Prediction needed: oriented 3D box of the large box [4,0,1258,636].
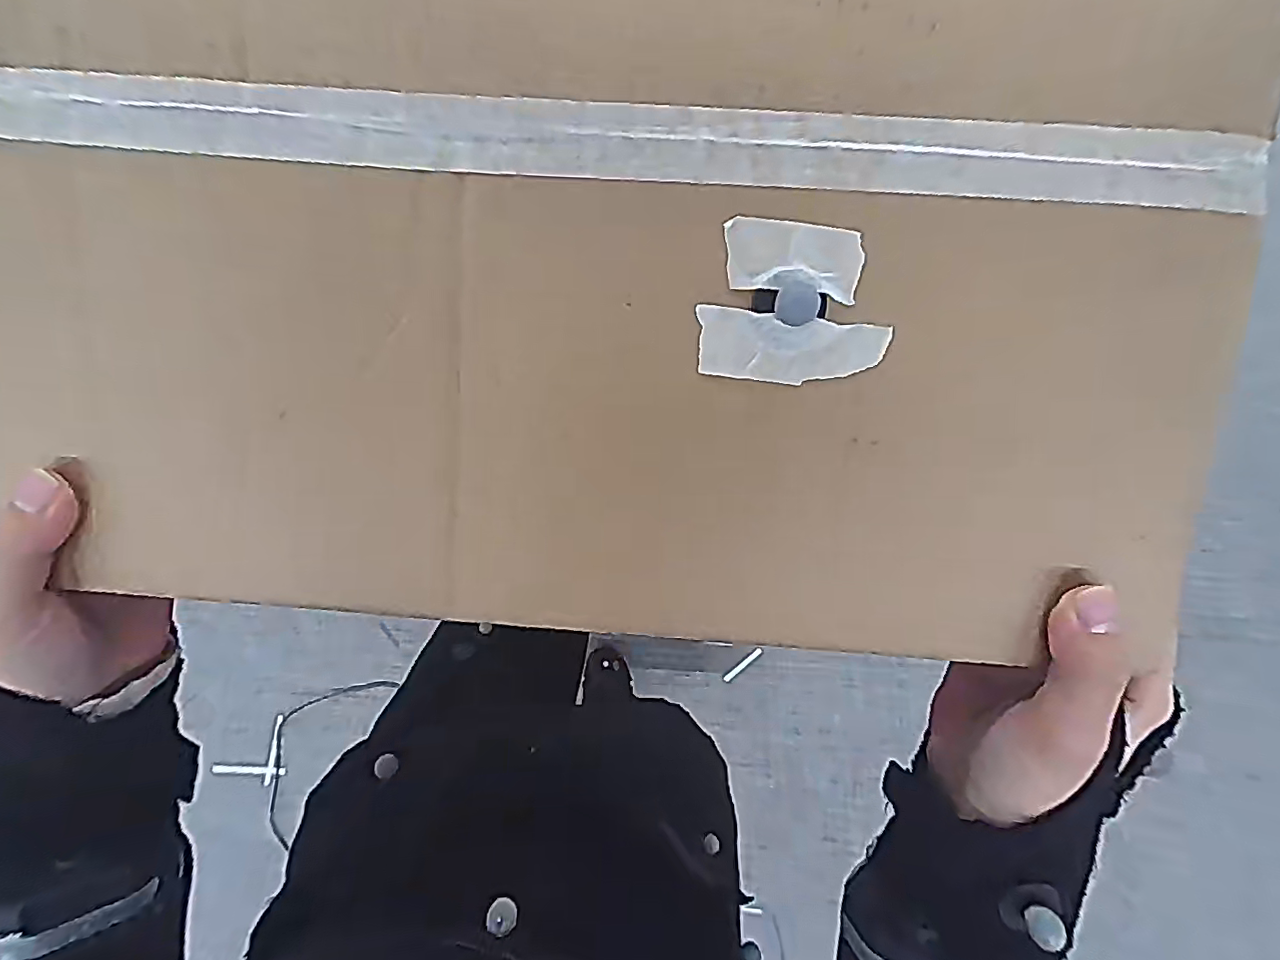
[{"bbox_3d":[-0.011,-0.122,0.327,0.408,0.320,0.320,4,98,0],"label":"large box"}]
